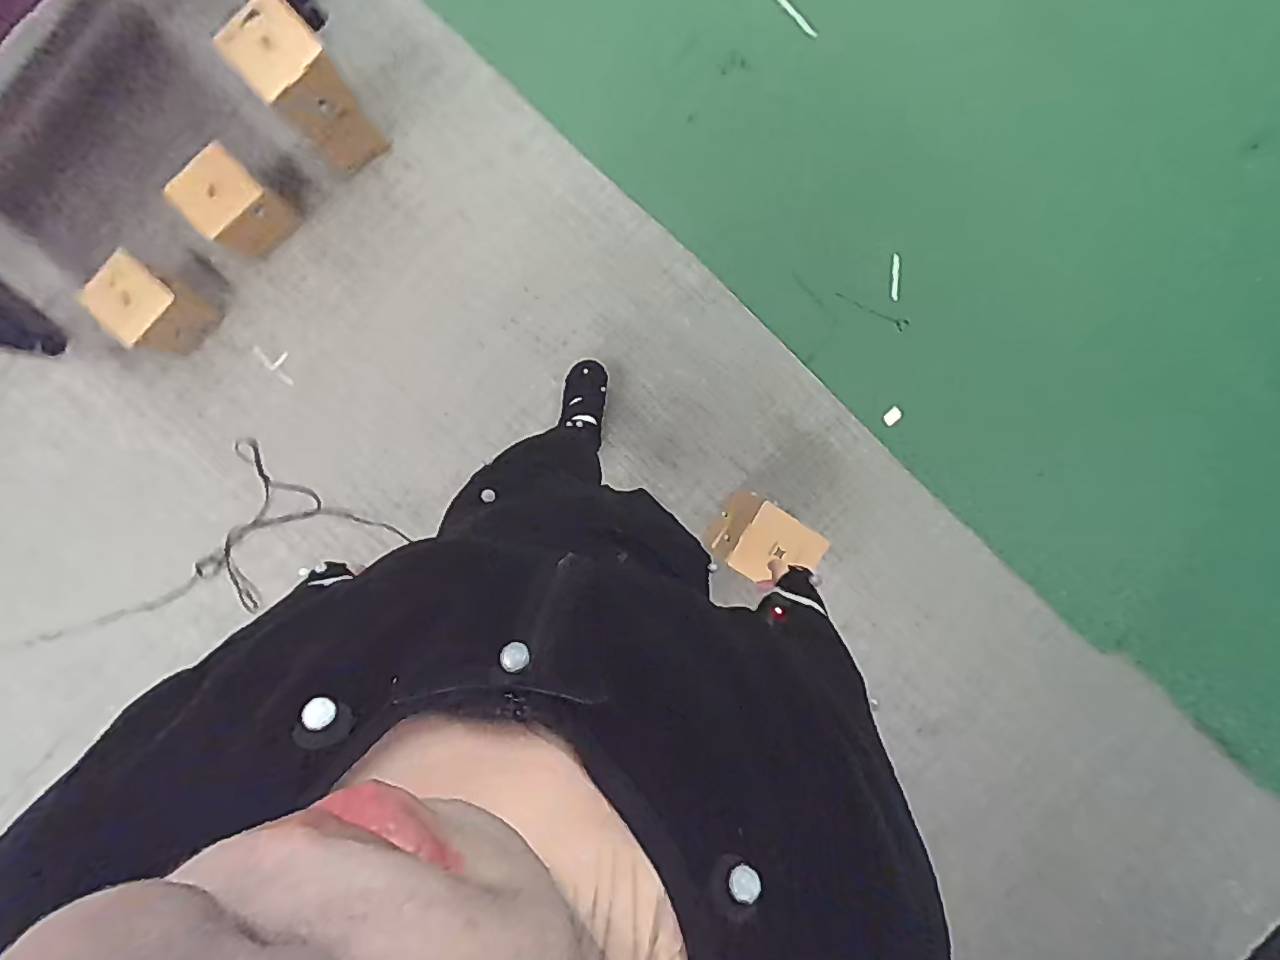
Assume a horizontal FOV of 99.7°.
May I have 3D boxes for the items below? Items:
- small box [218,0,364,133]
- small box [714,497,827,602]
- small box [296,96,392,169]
[{"bbox_3d":[-0.760,-0.917,1.200,0.168,0.176,0.179,-41,93,1],"label":"small box"},{"bbox_3d":[0.290,0.151,1.253,0.179,0.176,0.168,34,93,-3],"label":"small box"},{"bbox_3d":[-0.769,-0.927,1.365,0.168,0.176,0.179,-37,92,1],"label":"small box"}]
